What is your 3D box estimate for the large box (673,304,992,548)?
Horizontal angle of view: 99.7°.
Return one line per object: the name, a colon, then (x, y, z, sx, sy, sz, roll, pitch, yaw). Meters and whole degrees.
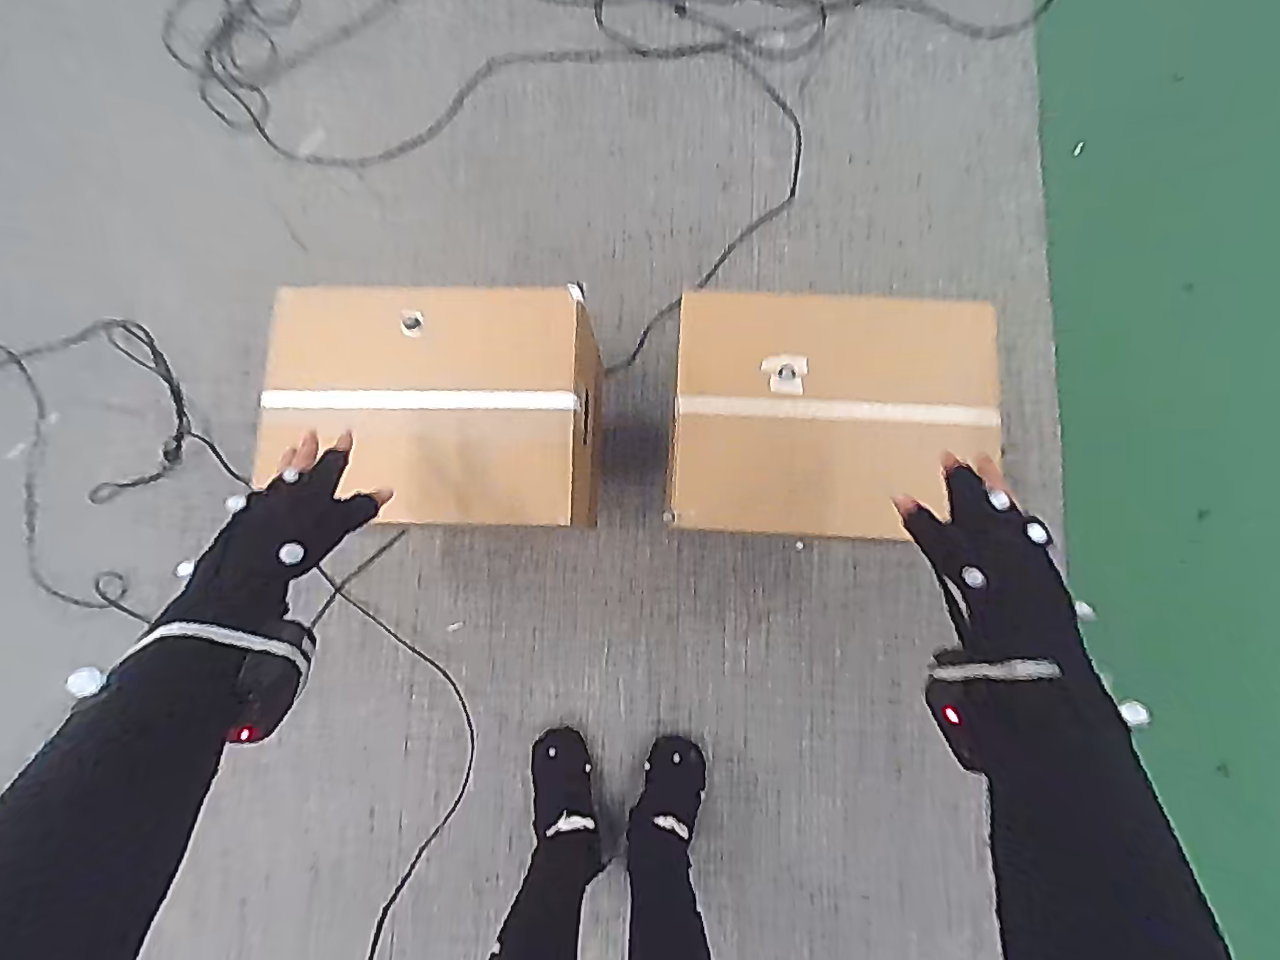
large box: (0.262, -0.062, 0.852, 0.408, 0.320, 0.320, 3, 83, 3)
